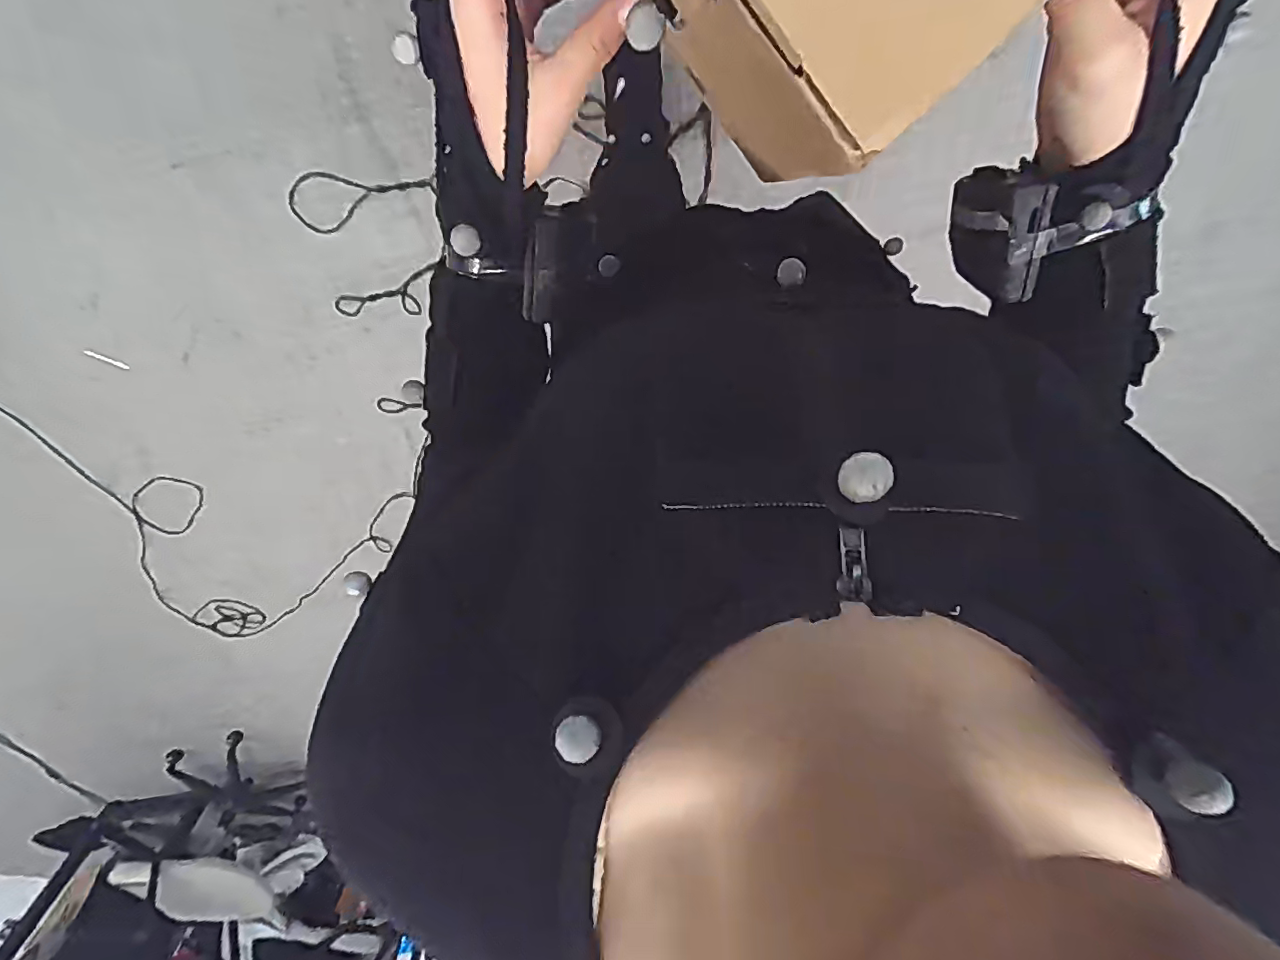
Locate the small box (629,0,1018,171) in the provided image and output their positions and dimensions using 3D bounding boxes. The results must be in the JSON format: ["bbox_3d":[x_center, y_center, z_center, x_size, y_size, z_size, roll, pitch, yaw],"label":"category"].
[{"bbox_3d":[0.069,-0.232,0.178,0.179,0.176,0.168,-40,109,21],"label":"small box"}]
